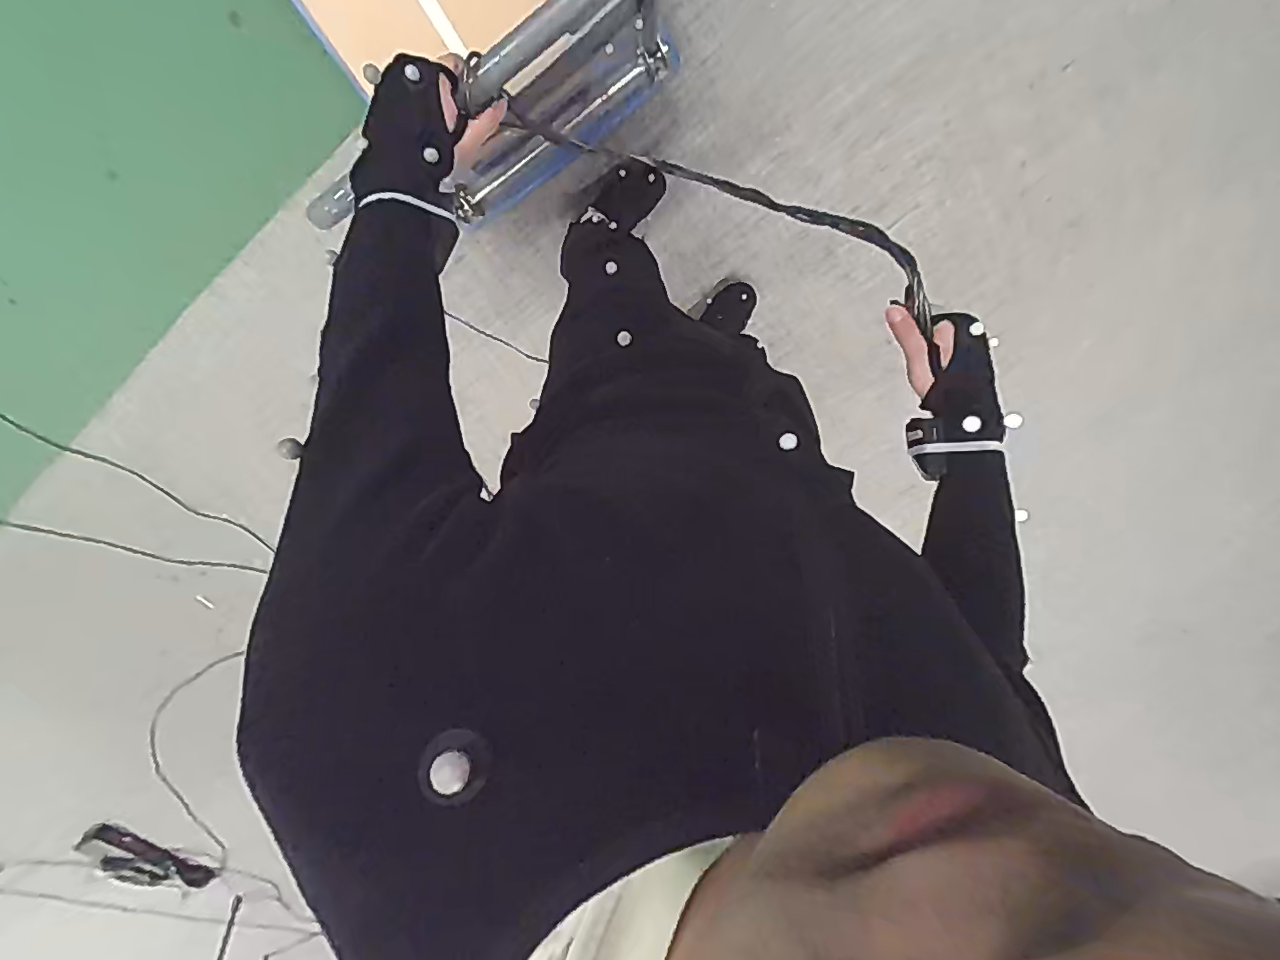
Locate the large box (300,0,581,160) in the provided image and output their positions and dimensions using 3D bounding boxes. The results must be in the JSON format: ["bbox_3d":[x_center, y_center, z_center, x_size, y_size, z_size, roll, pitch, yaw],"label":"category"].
[{"bbox_3d":[-0.343,-0.810,0.885,0.320,0.320,0.408,-28,117,14],"label":"large box"}]
